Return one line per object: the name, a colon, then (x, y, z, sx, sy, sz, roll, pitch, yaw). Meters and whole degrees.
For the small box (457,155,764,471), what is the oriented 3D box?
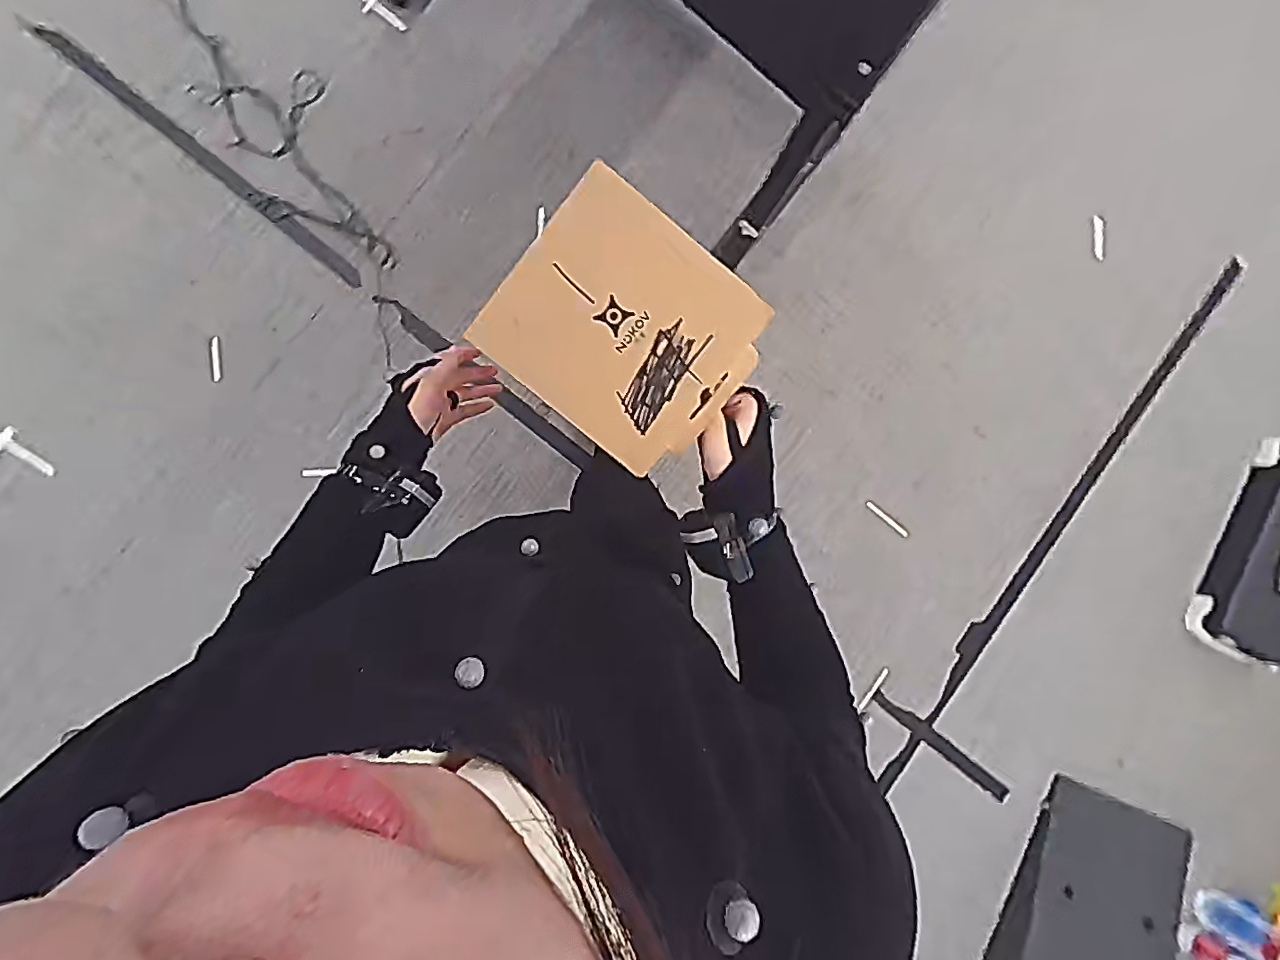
small box: (-0.028, -0.133, 0.482, 0.179, 0.176, 0.168, 36, 93, -12)
